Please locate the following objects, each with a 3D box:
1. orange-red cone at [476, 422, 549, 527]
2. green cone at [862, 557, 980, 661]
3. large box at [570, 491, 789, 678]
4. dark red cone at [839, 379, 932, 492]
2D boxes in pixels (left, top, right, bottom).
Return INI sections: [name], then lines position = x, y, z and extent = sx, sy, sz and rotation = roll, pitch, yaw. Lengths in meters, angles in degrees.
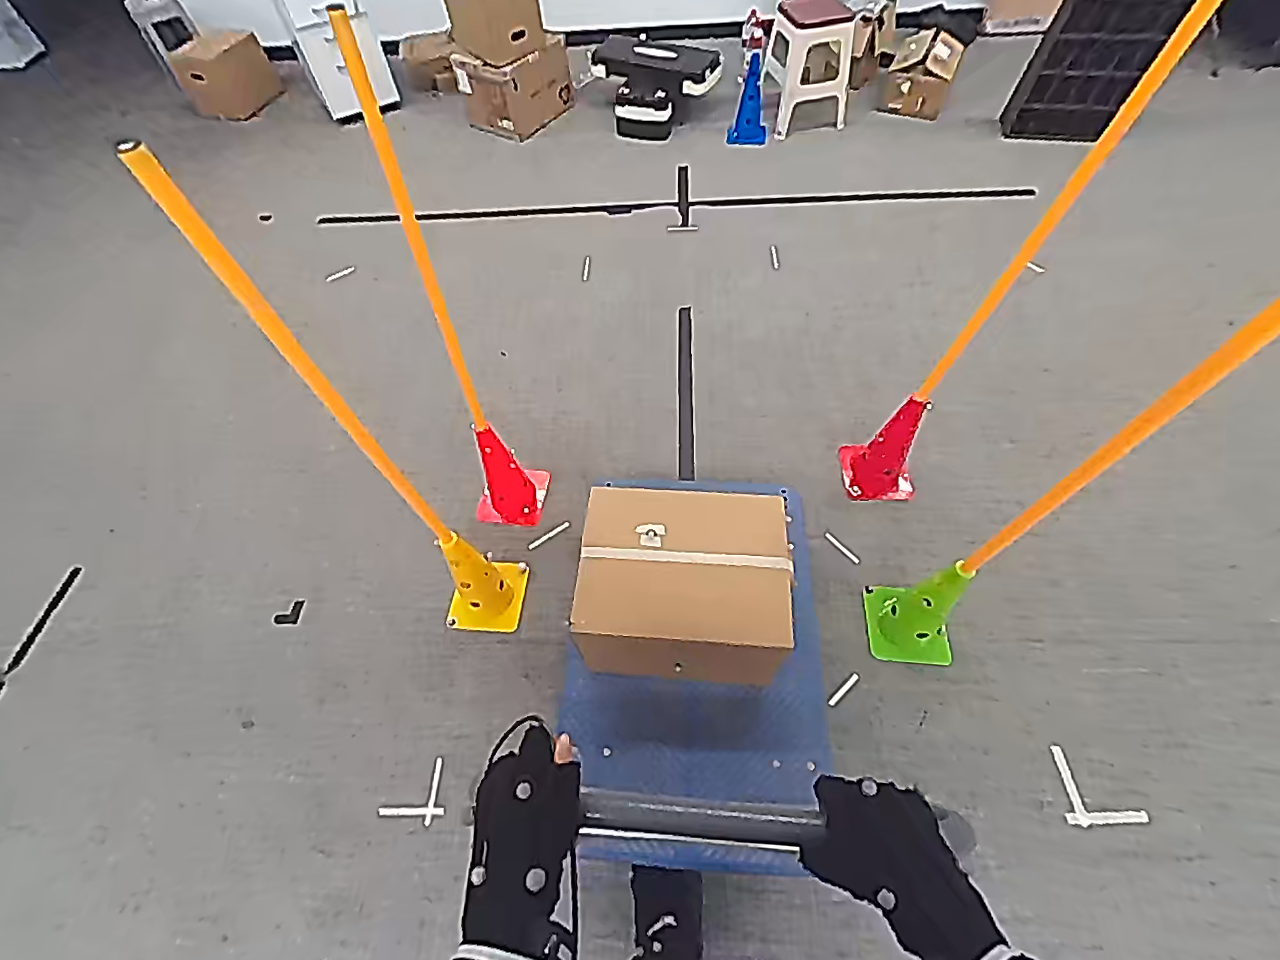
[orange-red cone]
position = -0.405, -0.043, 1.562
extent = 0.198, 0.360, 0.199
rotation = 6, 56, 6
[green cone]
position = 0.695, 0.281, 1.288
extent = 0.202, 0.368, 0.200
rotation = 3, 57, 4
[large box]
position = 0.089, 0.236, 1.180
extent = 0.408, 0.320, 0.320
rotation = 3, 58, 6
[dark red cone]
position = 0.725, -0.137, 1.534
extent = 0.201, 0.394, 0.202
rotation = 1, 58, 1
